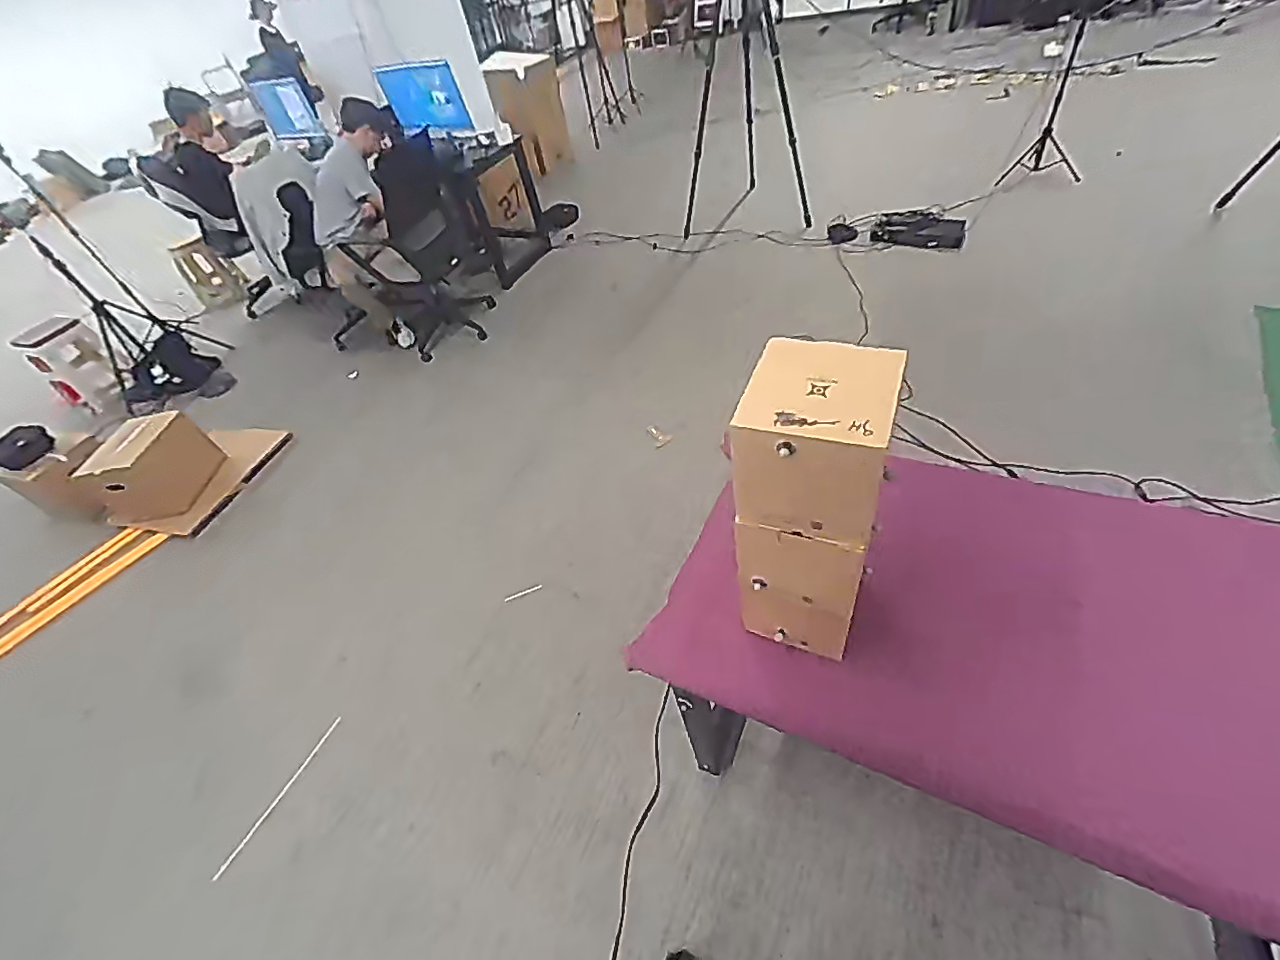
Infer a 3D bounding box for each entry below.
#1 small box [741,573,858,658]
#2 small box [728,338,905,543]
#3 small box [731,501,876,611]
[{"bbox_3d":[0.276,0.166,0.909,0.168,0.176,0.179,13,53,24],"label":"small box"},{"bbox_3d":[0.217,-0.052,0.672,0.168,0.176,0.179,12,51,24],"label":"small box"},{"bbox_3d":[0.243,0.063,0.786,0.168,0.176,0.179,12,51,24],"label":"small box"}]
